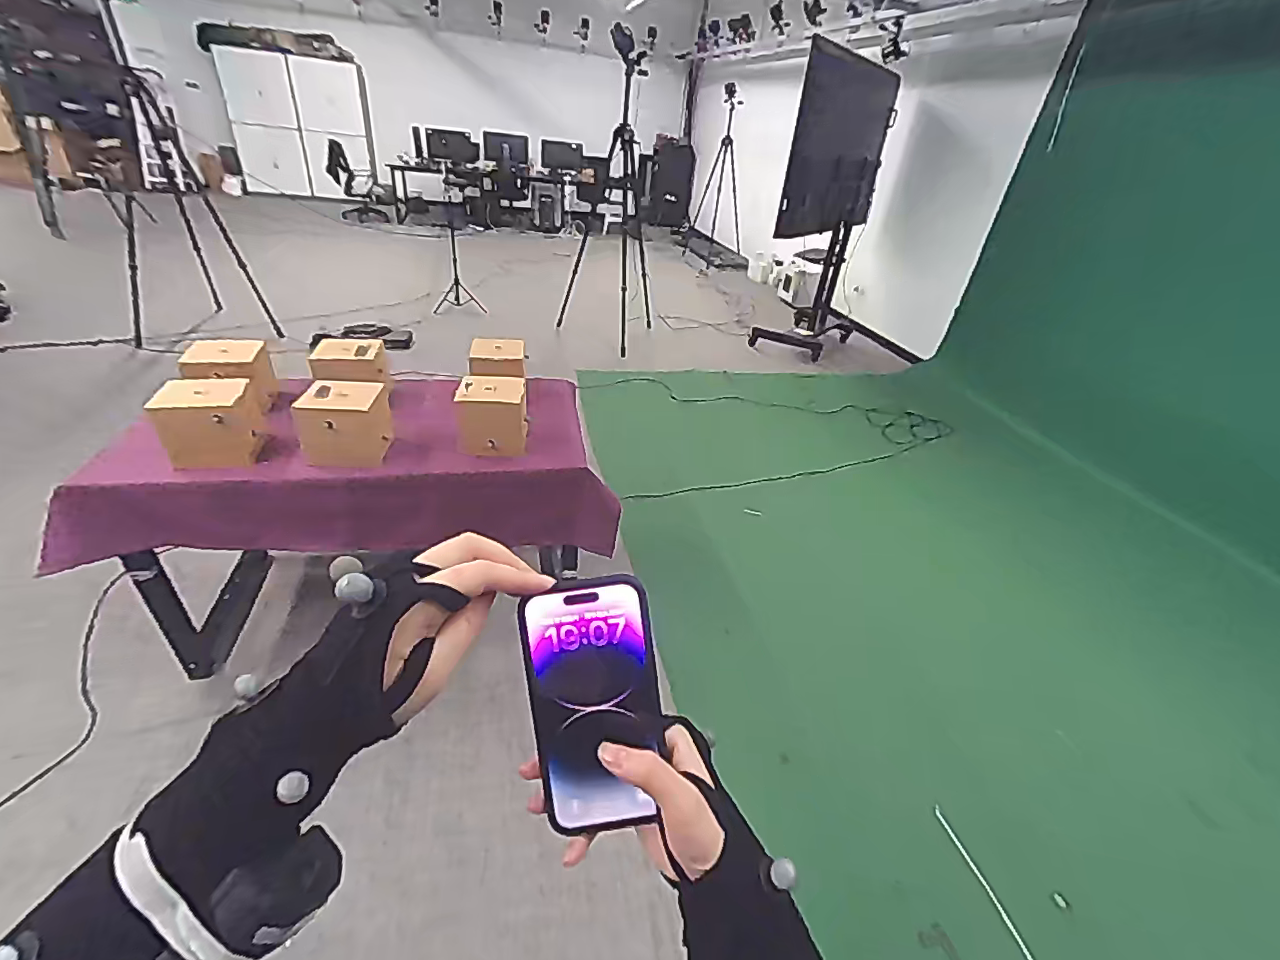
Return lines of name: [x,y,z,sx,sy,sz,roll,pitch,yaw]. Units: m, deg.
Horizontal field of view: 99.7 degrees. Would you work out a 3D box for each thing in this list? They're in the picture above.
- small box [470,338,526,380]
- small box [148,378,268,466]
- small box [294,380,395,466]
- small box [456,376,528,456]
small box: [-0.463,-0.355,1.789,0.168,0.176,0.179,0,35,-10]
small box: [-1.072,-0.146,1.359,0.179,0.176,0.168,-4,34,-19]
small box: [-0.765,-0.149,1.420,0.179,0.176,0.168,2,33,-9]
small box: [-0.413,-0.180,1.533,0.179,0.176,0.168,2,33,-8]
